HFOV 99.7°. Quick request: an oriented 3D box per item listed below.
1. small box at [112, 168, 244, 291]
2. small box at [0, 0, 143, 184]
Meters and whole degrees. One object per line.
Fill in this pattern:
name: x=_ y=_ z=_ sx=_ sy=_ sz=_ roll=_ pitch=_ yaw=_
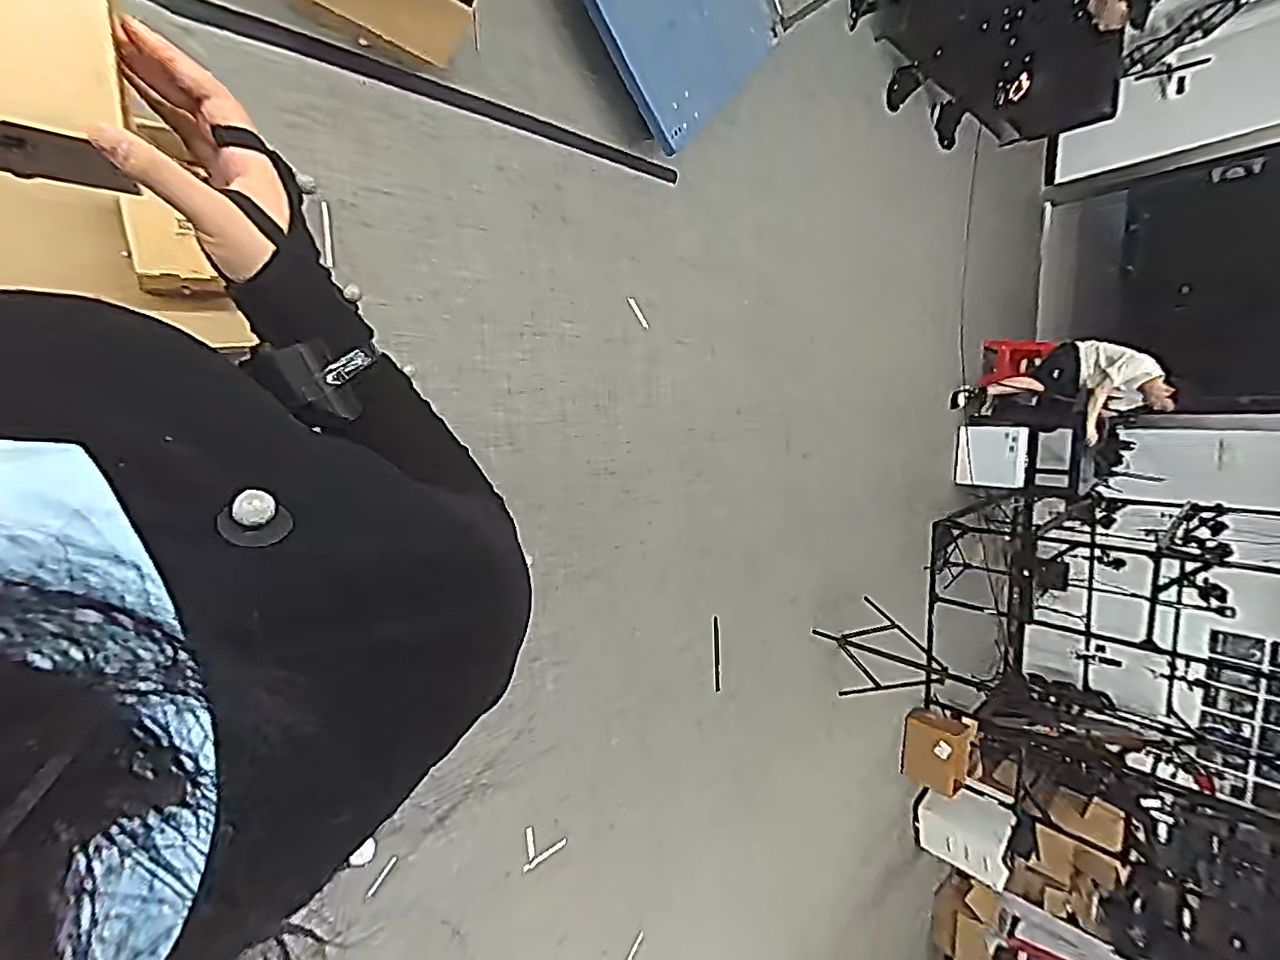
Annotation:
small box: x=-0.890 y=-0.475 z=1.044 sx=0.168 sy=0.176 sz=0.179 roll=-14 pitch=104 yaw=-39
small box: x=-0.375 y=-0.265 z=0.271 sx=0.179 sy=0.176 sz=0.168 roll=-6 pitch=108 yaw=-39
